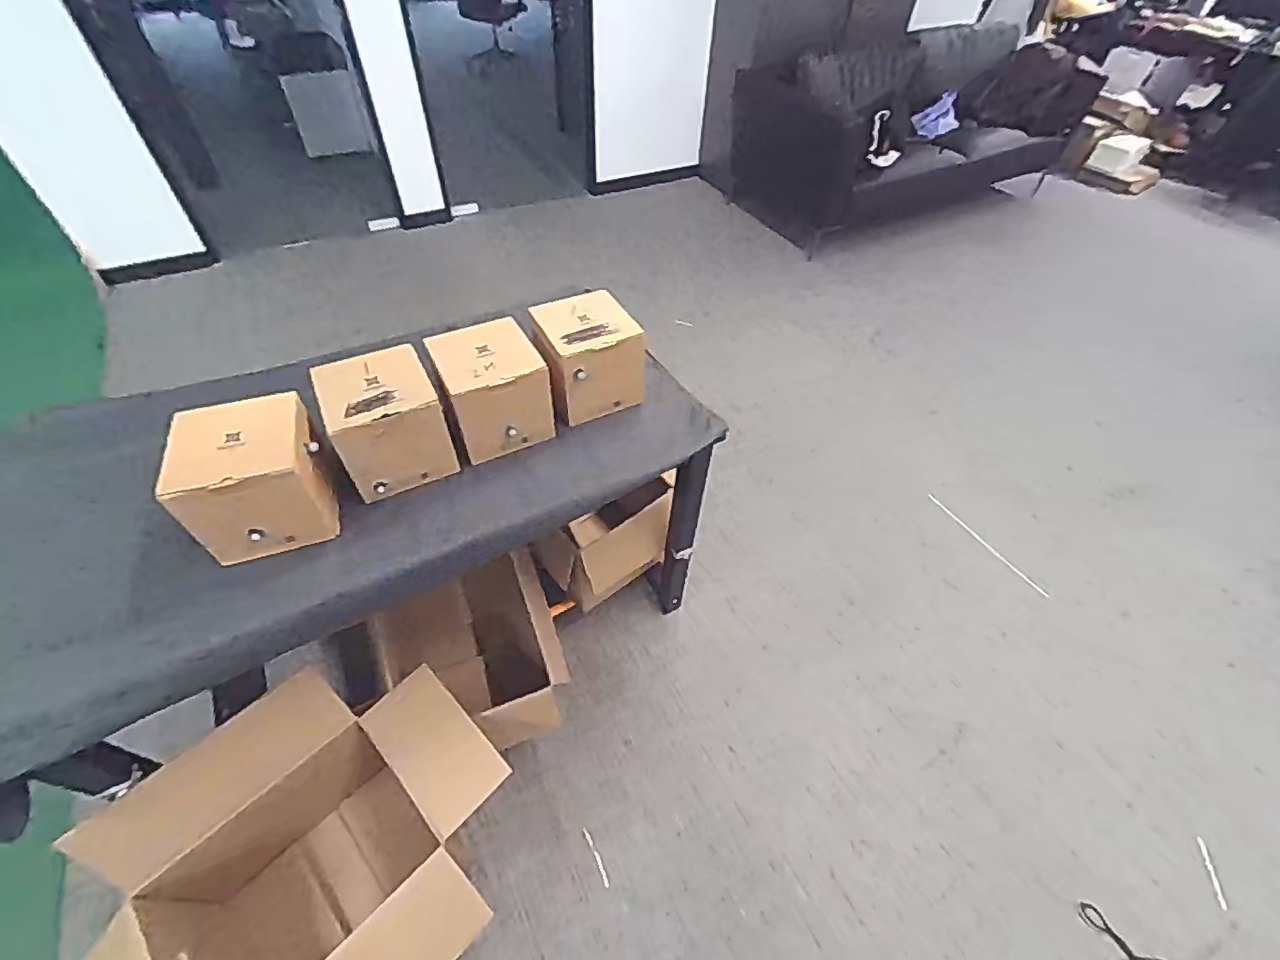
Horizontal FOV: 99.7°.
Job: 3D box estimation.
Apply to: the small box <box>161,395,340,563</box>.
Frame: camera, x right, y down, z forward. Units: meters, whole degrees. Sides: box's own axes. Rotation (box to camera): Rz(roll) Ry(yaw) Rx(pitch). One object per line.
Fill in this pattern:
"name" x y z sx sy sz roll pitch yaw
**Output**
"small box" -0.584 -0.002 0.839 0.168 0.176 0.179 -15 52 -16
